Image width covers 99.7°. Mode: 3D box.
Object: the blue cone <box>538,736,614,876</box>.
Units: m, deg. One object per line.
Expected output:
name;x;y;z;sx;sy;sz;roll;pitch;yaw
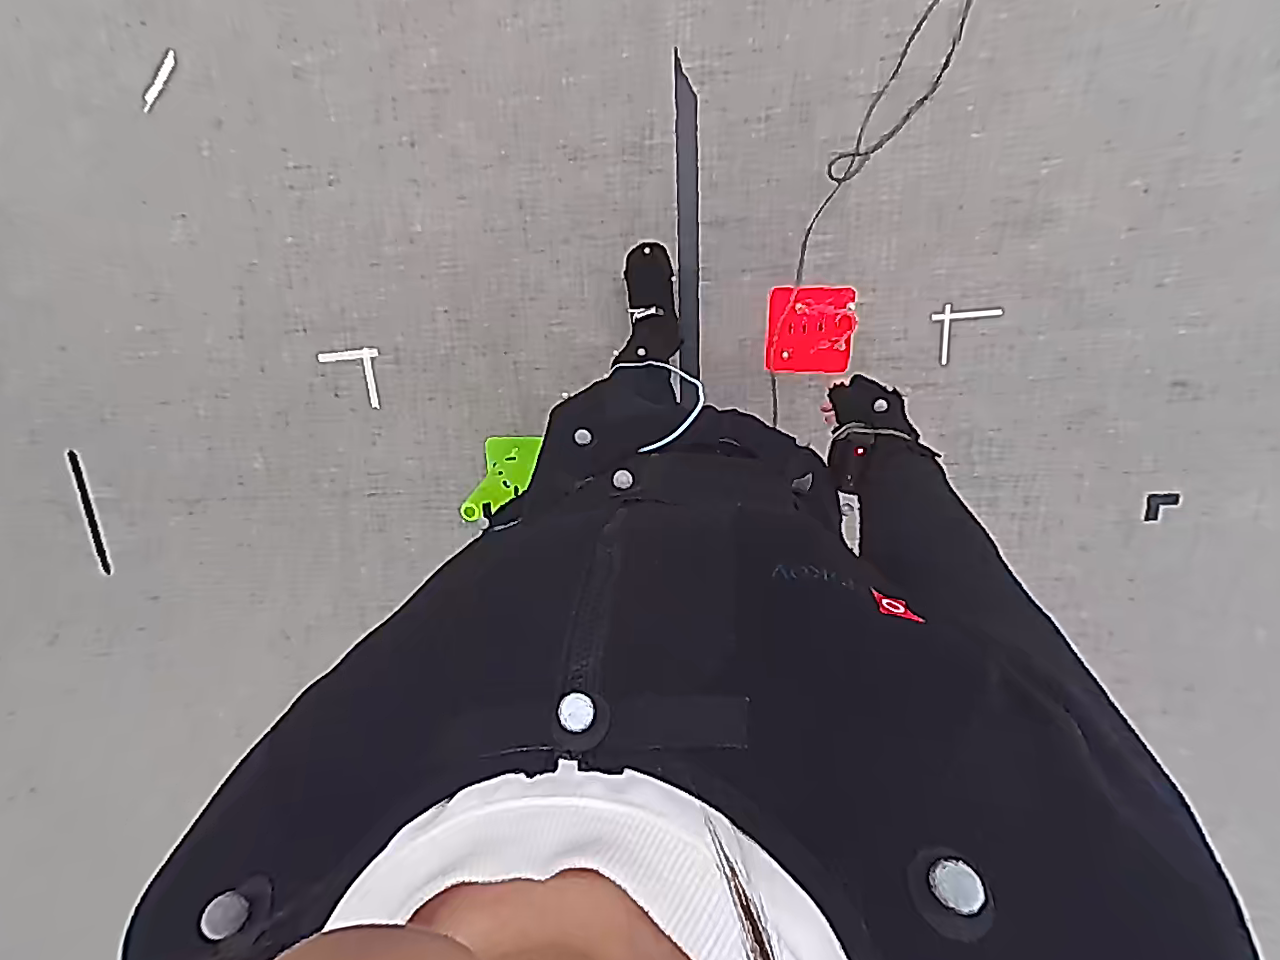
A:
blue cone;-0.195;0.902;1.484;0.192;0.380;0.193;3;103;7

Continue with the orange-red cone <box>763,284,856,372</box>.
orange-red cone;0.385;-0.320;1.124;0.199;0.360;0.198;4;105;5

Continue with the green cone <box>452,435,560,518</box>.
green cone;-0.339;0.016;1.284;0.202;0.368;0.200;0;103;8
